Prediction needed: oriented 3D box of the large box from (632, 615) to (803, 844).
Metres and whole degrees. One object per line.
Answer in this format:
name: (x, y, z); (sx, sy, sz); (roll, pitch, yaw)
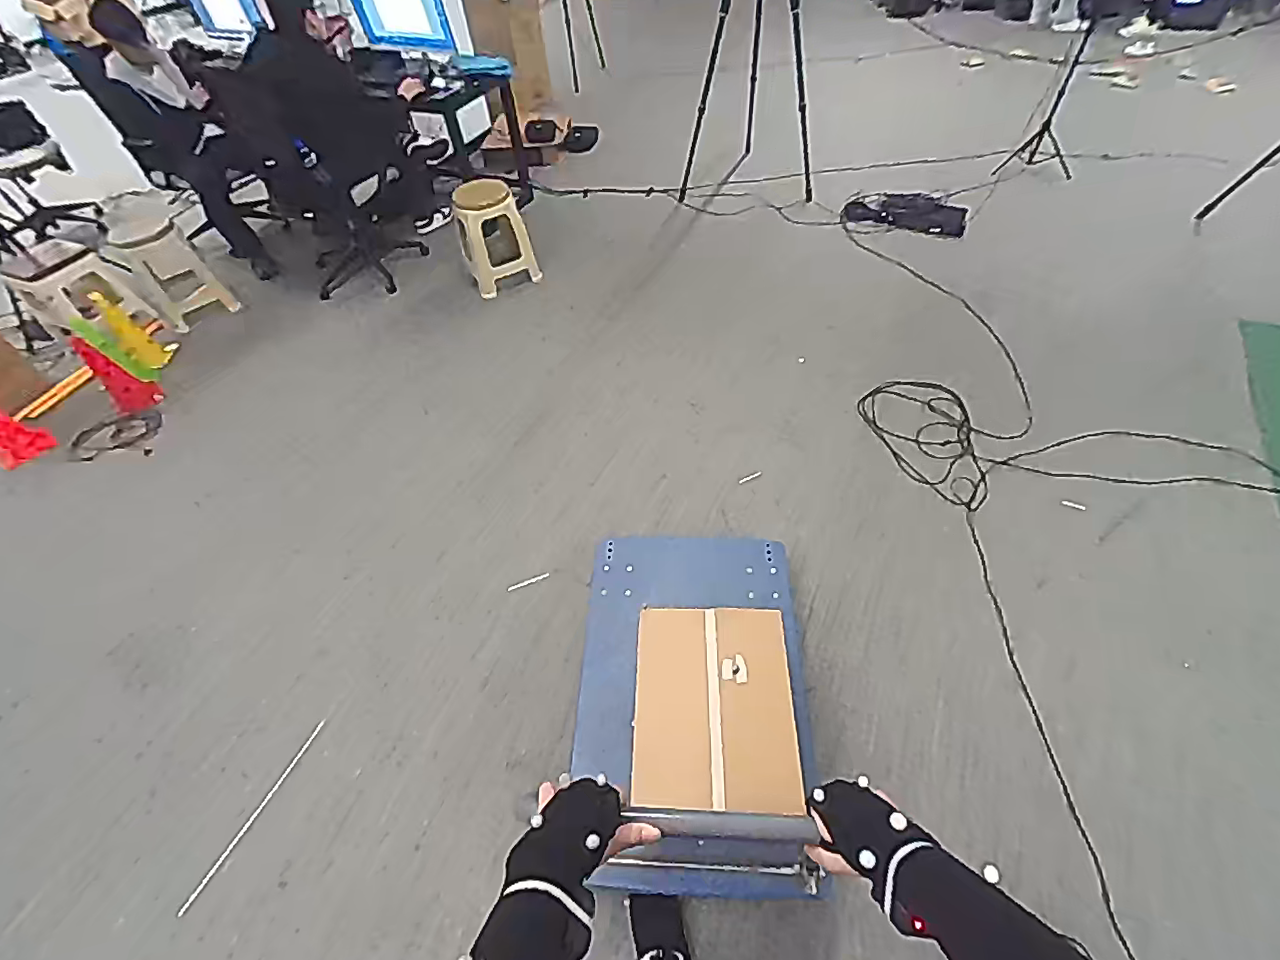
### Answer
large box: (0.155, 0.554, 1.205); (0.320, 0.320, 0.408); (0, 50, 4)
